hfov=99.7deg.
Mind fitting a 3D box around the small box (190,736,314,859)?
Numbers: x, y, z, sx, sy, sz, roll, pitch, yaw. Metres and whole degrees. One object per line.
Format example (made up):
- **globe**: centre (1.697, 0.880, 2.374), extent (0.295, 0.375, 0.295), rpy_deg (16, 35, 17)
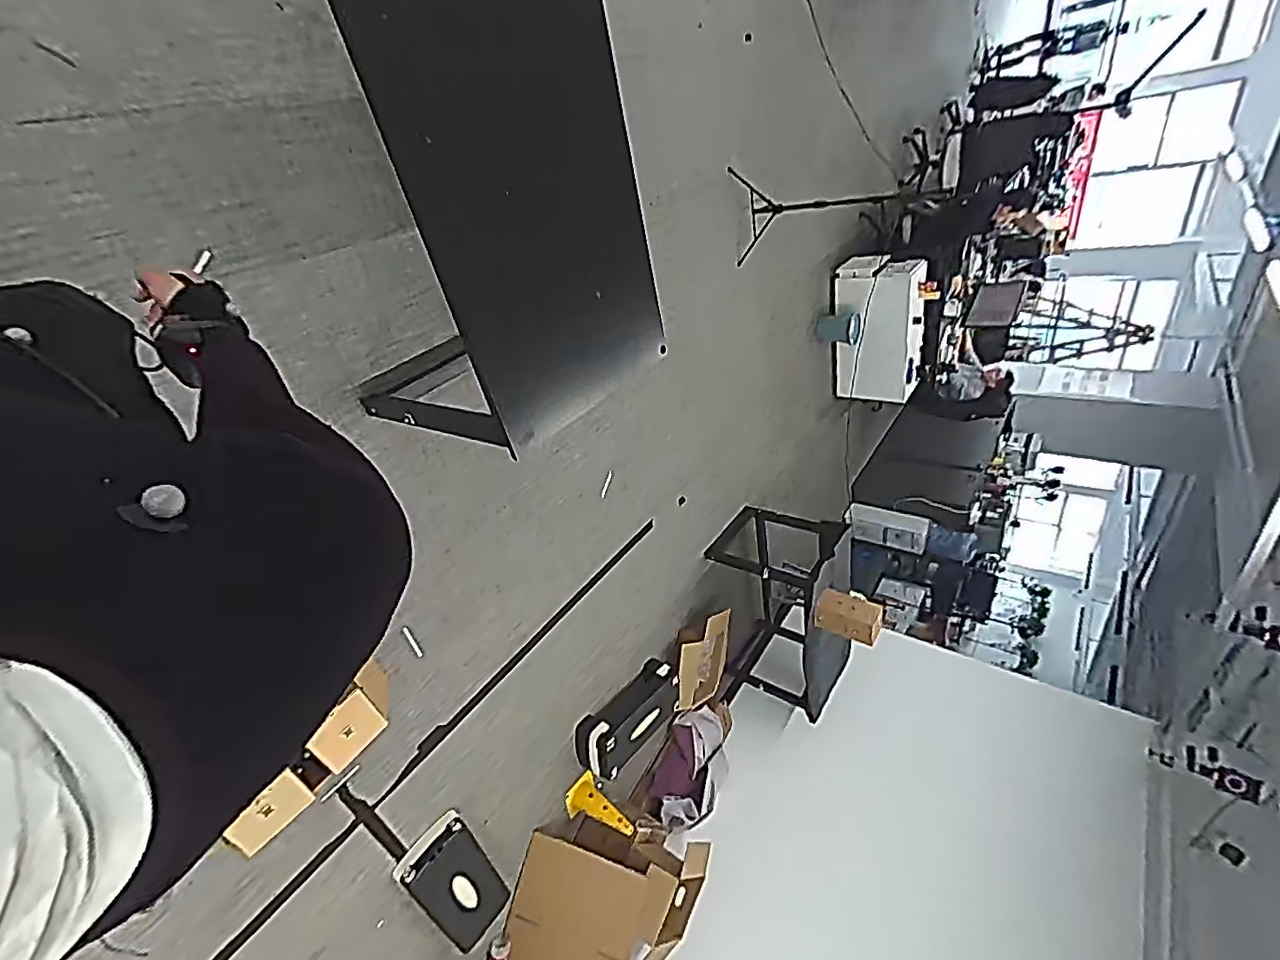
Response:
- **small box**: centre (-0.957, 0.774, 1.337), extent (0.168, 0.176, 0.179), rpy_deg (-41, 131, -39)
